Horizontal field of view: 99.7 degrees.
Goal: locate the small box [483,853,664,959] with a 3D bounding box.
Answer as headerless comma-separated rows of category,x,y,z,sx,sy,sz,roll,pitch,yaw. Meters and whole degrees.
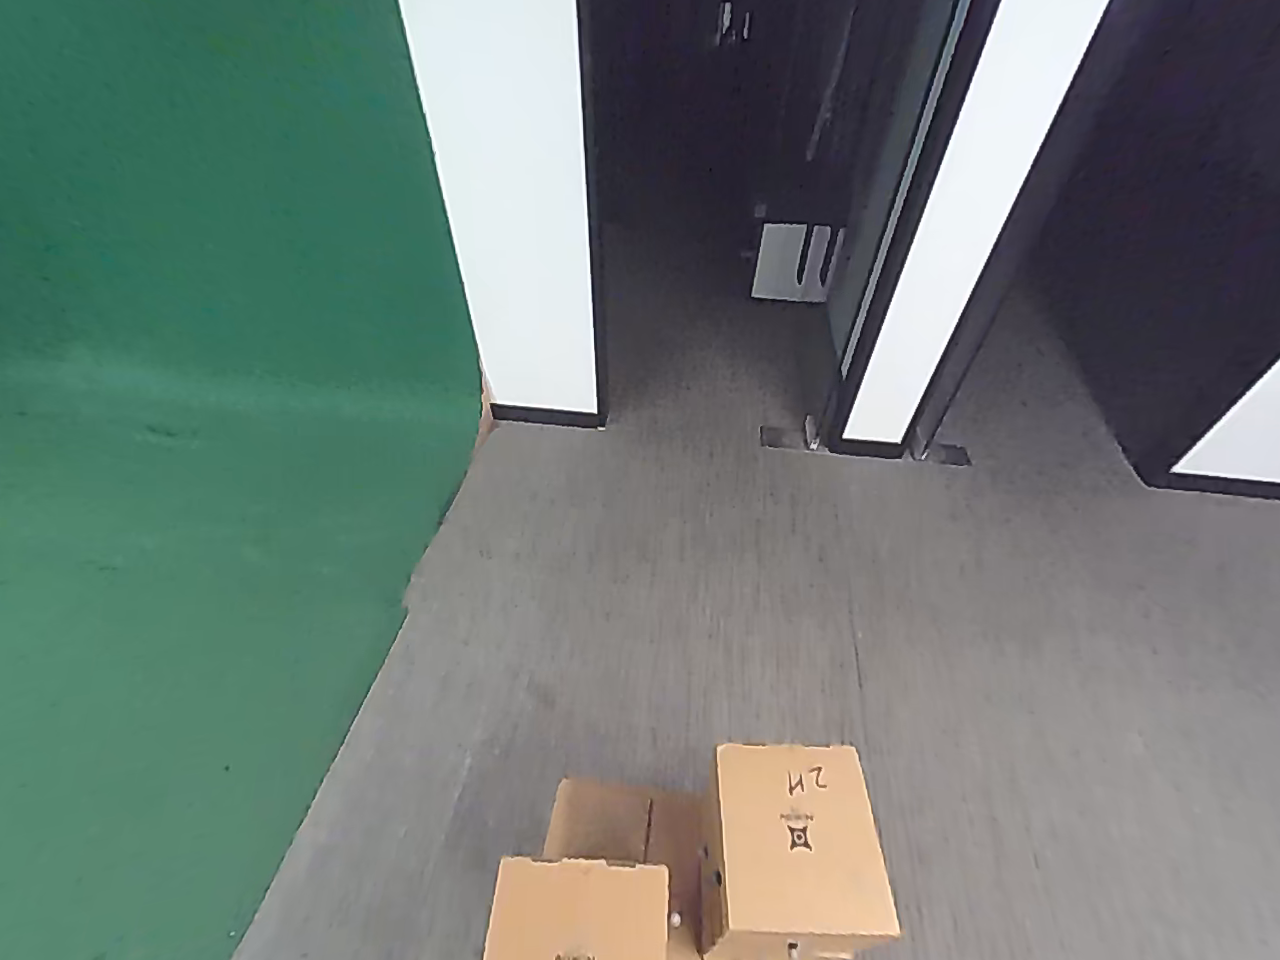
small box,-0.063,0.495,0.546,0.168,0.176,0.179,3,50,0

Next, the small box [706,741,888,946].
small box,0.168,0.433,0.644,0.168,0.176,0.179,1,45,2
